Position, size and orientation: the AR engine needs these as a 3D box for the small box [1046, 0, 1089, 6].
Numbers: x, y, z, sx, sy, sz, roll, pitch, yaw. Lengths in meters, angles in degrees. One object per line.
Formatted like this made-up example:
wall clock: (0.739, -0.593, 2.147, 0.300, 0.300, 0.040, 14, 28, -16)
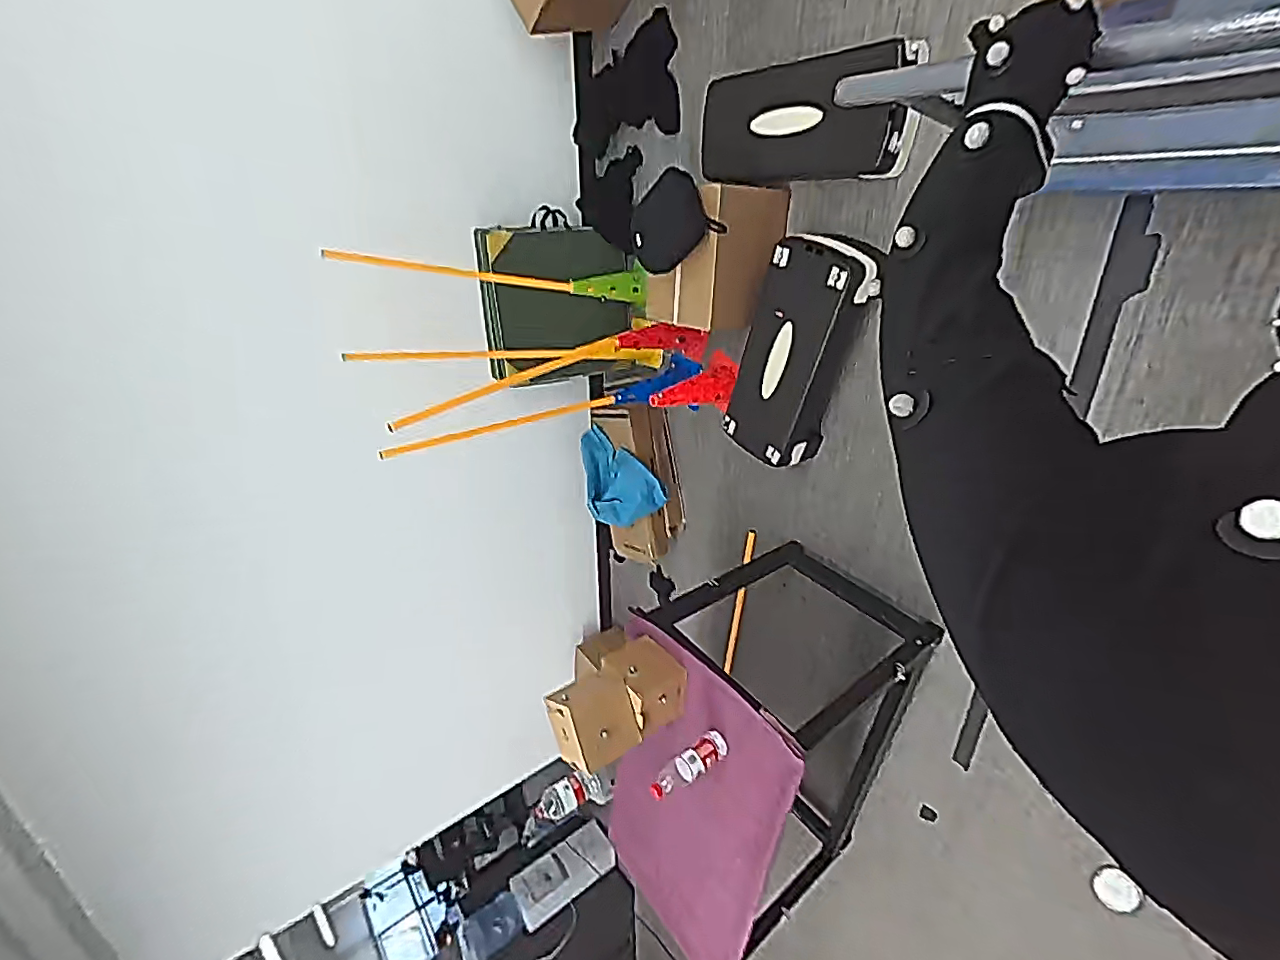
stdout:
small box: (0.721, -0.854, 0.818, 0.179, 0.176, 0.168, 32, 129, 41)
